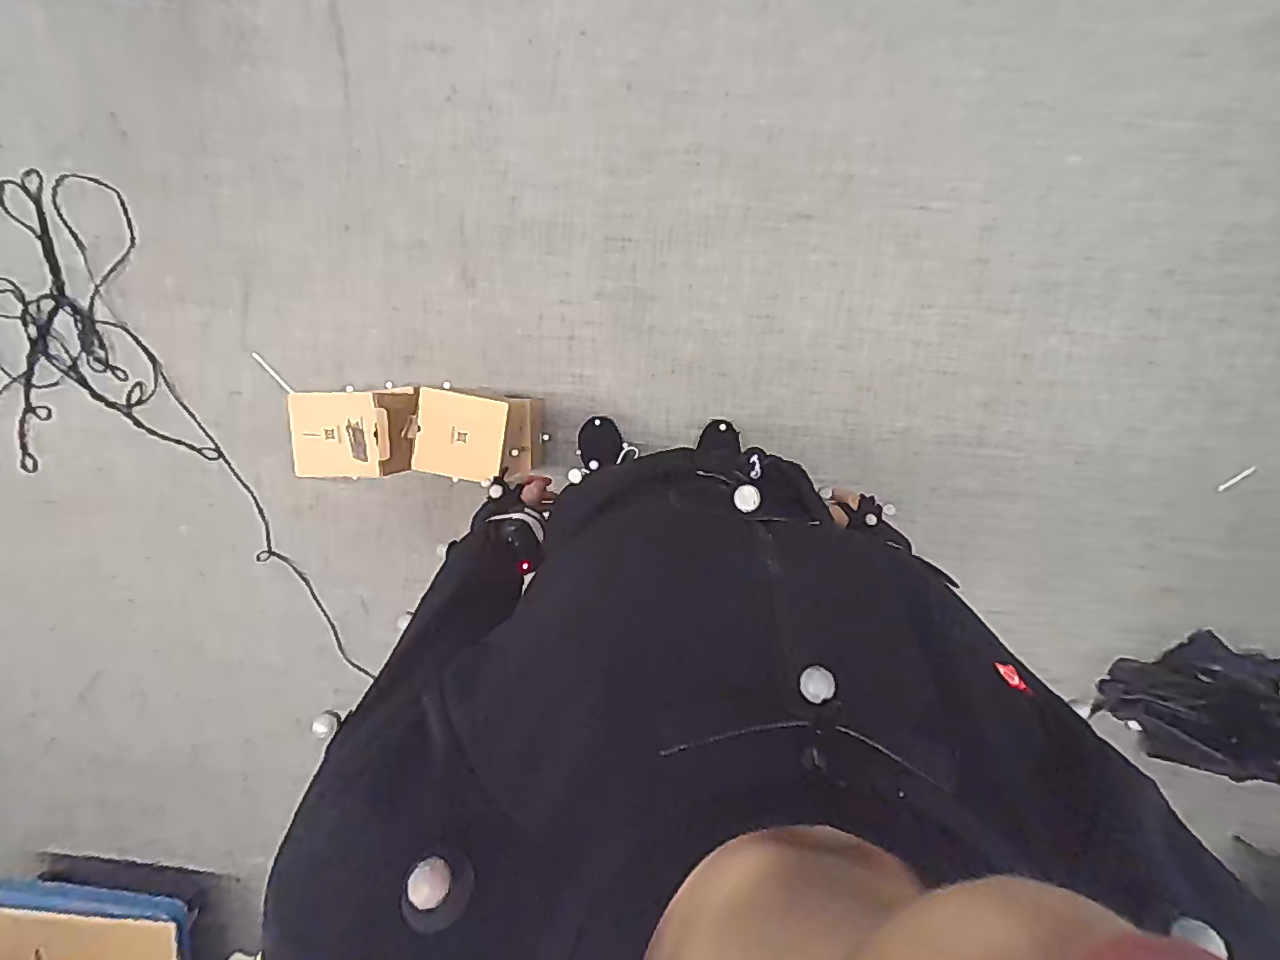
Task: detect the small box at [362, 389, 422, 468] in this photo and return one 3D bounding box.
[{"bbox_3d":[-0.564,-0.121,1.281,0.168,0.176,0.179,-5,98,3],"label":"small box"}]

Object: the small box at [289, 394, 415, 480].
[{"bbox_3d":[-0.581,-0.094,1.118,0.179,0.176,0.168,0,97,3],"label":"small box"}]

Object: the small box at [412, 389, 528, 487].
[{"bbox_3d":[-0.341,-0.093,1.115,0.179,0.176,0.168,10,99,1],"label":"small box"}]
